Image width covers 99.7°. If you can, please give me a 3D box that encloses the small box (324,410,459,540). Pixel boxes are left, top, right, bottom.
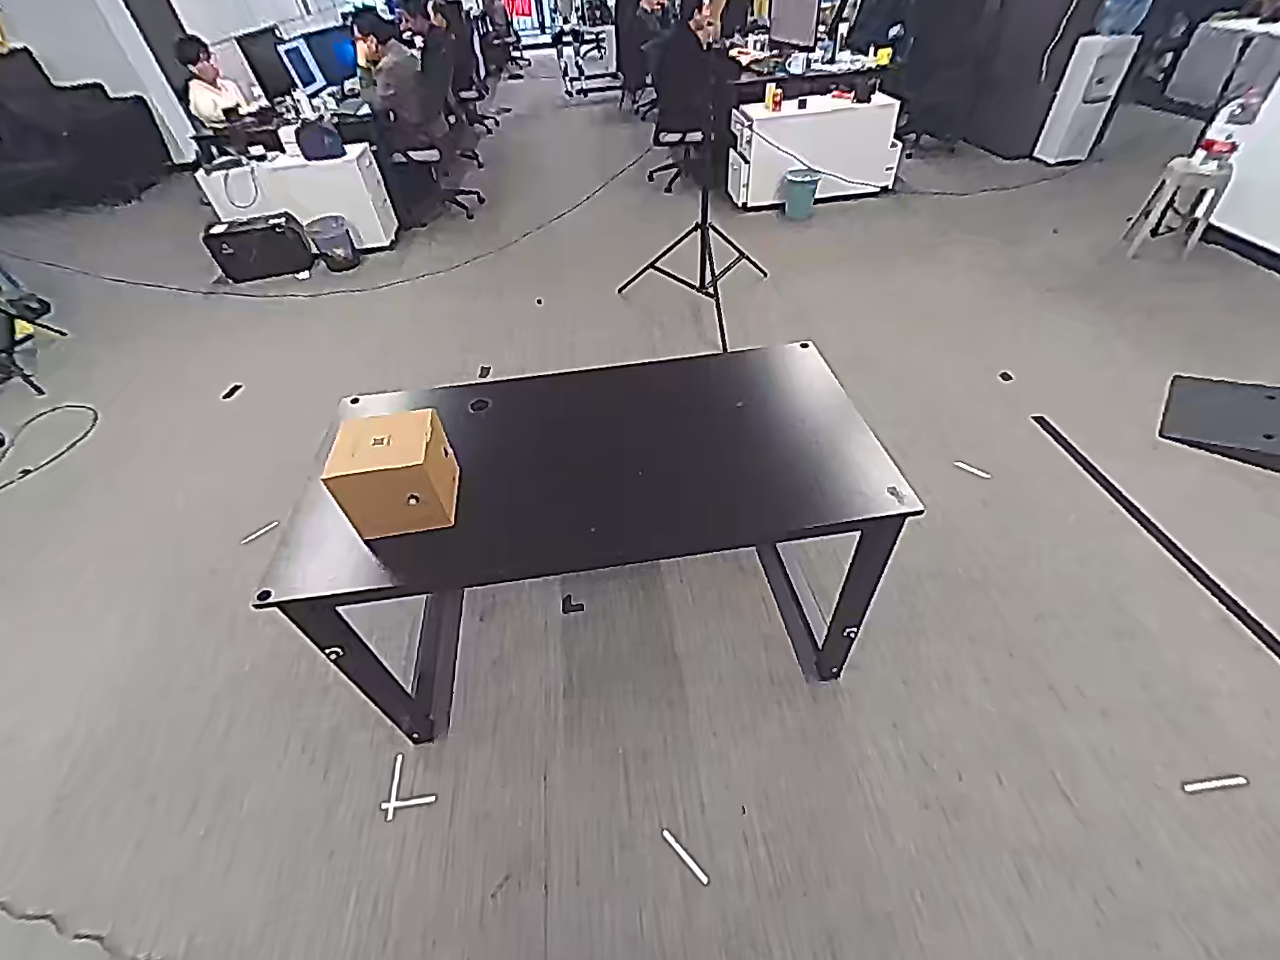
[{"bbox_3d":[-0.460,-0.007,1.035,0.179,0.176,0.168,-10,44,-4],"label":"small box"}]
